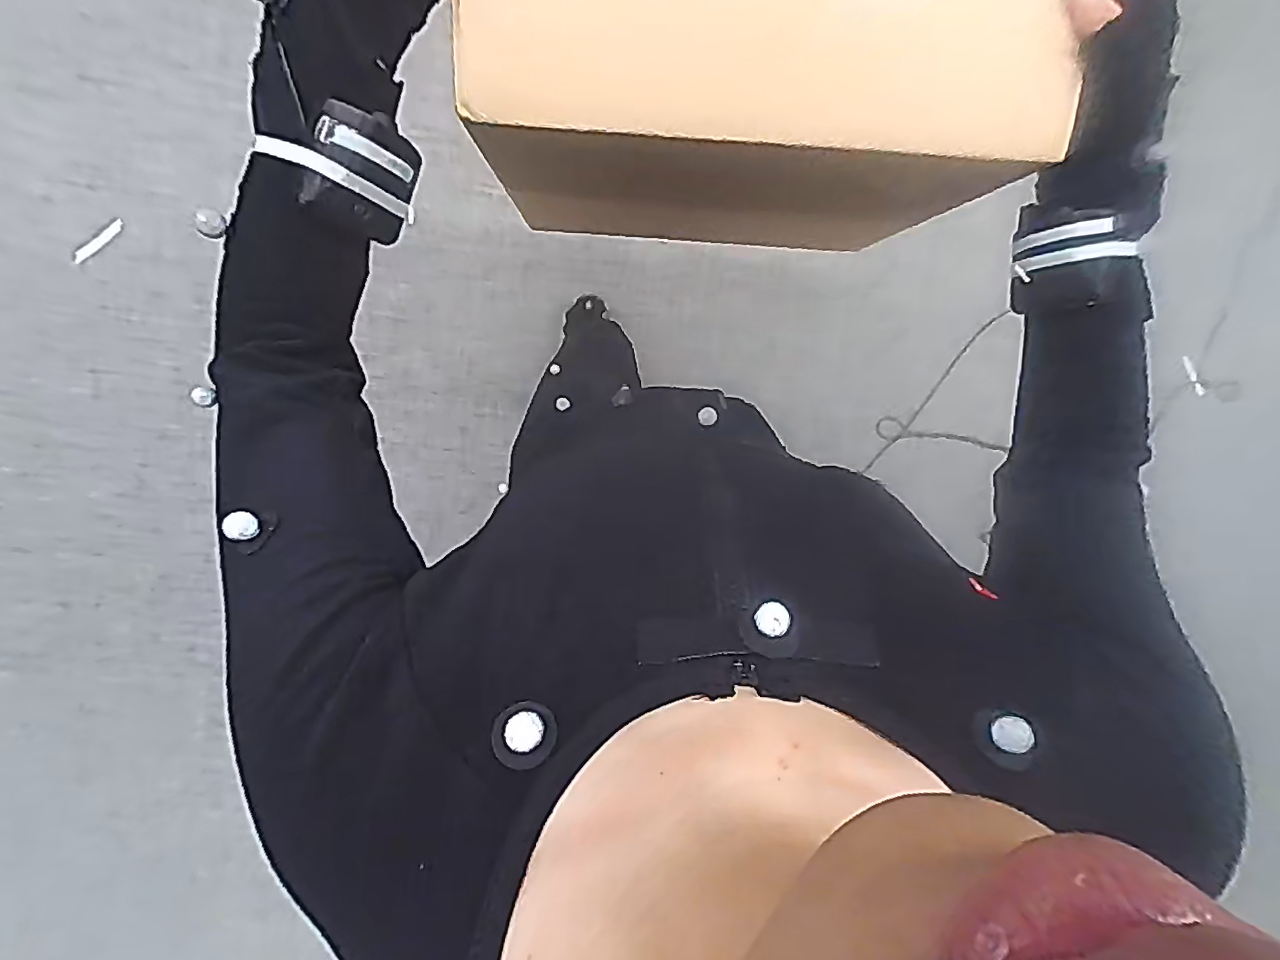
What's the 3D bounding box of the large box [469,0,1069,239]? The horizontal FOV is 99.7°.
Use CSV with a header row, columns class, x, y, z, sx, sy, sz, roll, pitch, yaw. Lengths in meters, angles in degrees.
class,x,y,z,sx,sy,sz,roll,pitch,yaw
large box,0.080,-0.417,0.480,0.408,0.320,0.320,2,103,-4
